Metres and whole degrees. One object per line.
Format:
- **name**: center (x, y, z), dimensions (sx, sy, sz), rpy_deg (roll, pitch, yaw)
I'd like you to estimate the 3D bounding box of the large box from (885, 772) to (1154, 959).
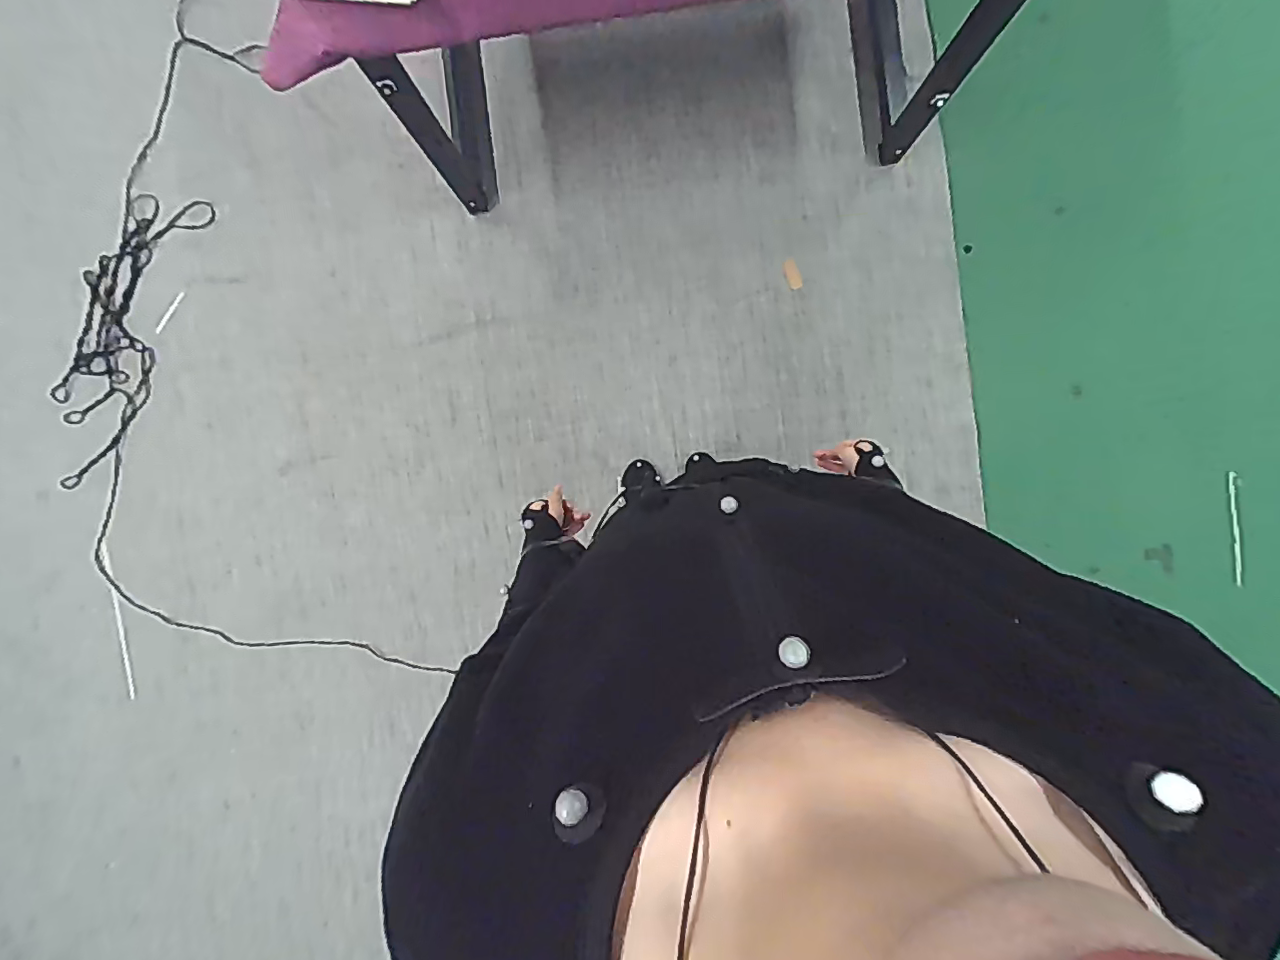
- **large box**: center (0.915, 1.021, 1.358), dimensions (0.408, 0.320, 0.320), rpy_deg (-22, 91, 1)
